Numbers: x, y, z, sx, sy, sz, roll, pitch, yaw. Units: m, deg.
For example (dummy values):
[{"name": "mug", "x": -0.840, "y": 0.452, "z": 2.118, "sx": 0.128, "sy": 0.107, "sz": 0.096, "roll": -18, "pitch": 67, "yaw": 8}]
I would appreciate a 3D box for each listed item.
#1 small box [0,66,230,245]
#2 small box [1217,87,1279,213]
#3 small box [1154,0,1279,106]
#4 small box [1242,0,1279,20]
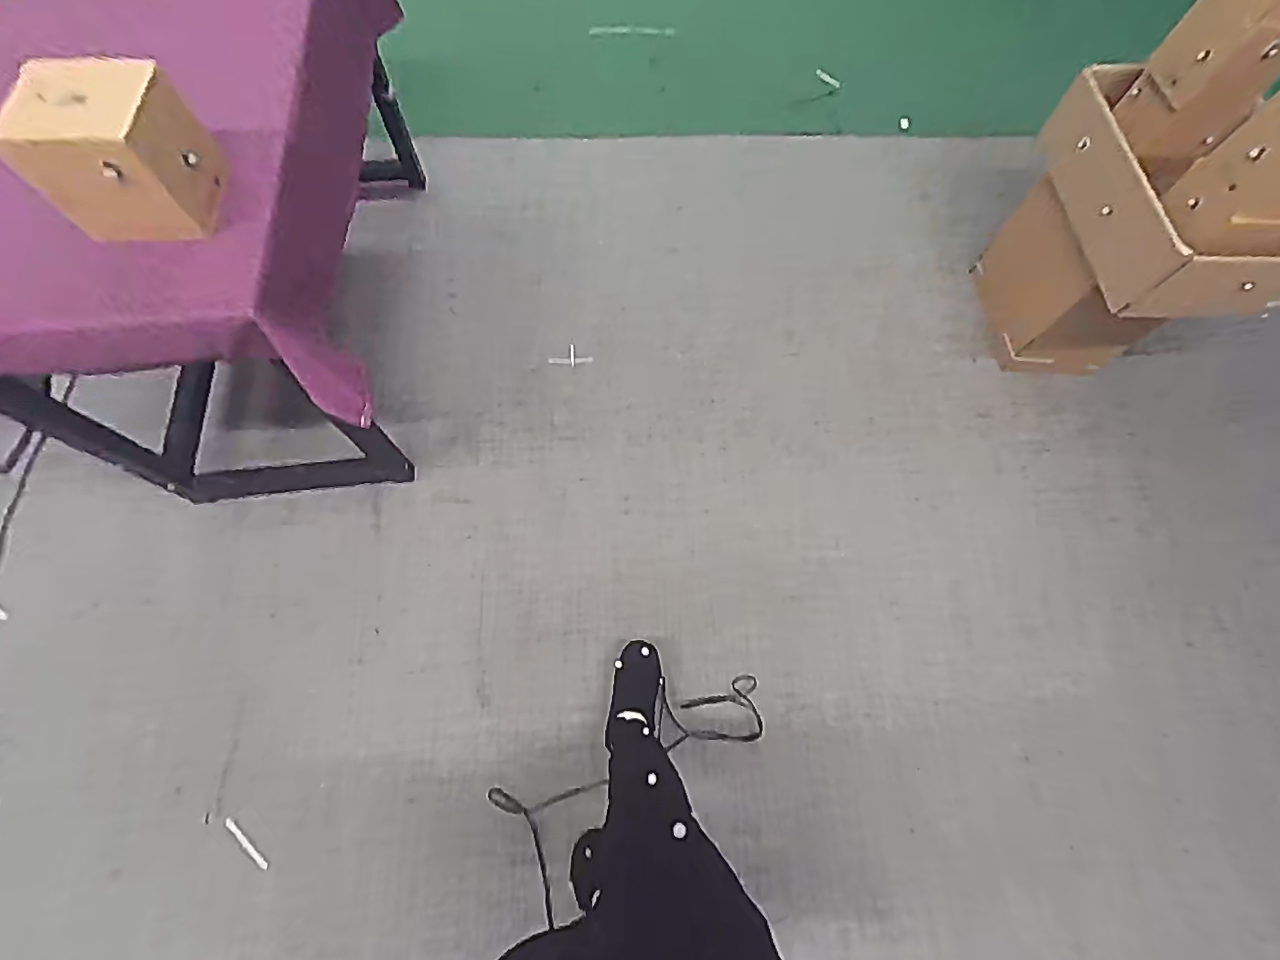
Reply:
[{"name": "small box", "x": -0.765, "y": -0.474, "z": 0.806, "sx": 0.179, "sy": 0.176, "sz": 0.168, "roll": -3, "pitch": 67, "yaw": -3}, {"name": "small box", "x": 1.282, "y": -0.637, "z": 1.038, "sx": 0.179, "sy": 0.176, "sz": 0.168, "roll": 1, "pitch": 69, "yaw": -1}, {"name": "small box", "x": 1.272, "y": -0.938, "z": 1.161, "sx": 0.179, "sy": 0.176, "sz": 0.168, "roll": -5, "pitch": 69, "yaw": -4}, {"name": "small box", "x": 1.276, "y": -1.012, "z": 1.016, "sx": 0.168, "sy": 0.176, "sz": 0.179, "roll": -6, "pitch": 70, "yaw": -4}]
